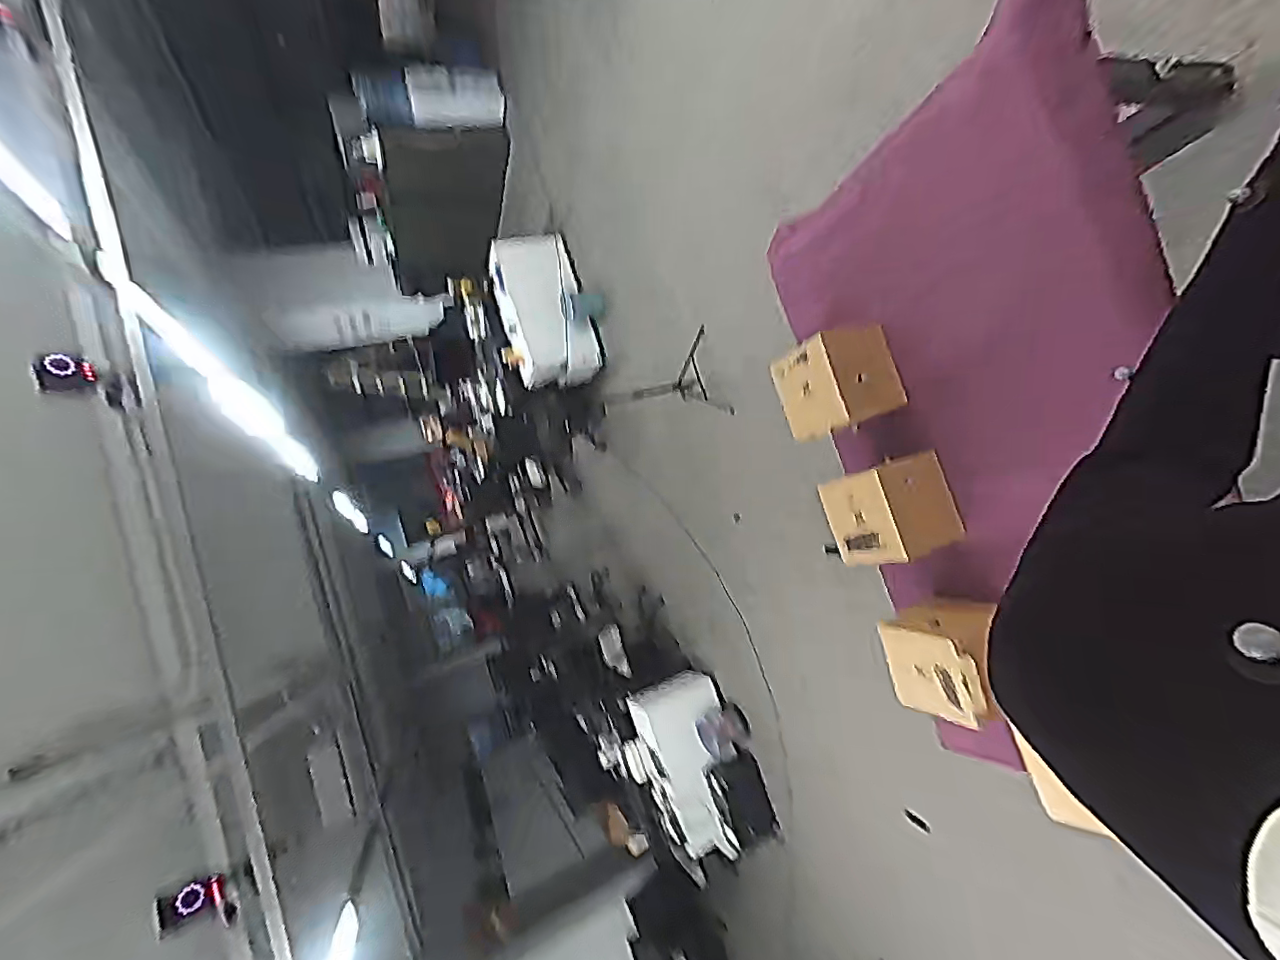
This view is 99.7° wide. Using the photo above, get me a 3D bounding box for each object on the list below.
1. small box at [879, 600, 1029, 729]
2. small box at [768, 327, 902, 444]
[{"bbox_3d":[0.607,0.341,1.039,0.179,0.176,0.168,-15,91,68],"label":"small box"},{"bbox_3d":[0.406,-0.196,1.125,0.168,0.176,0.179,-28,80,65],"label":"small box"}]
